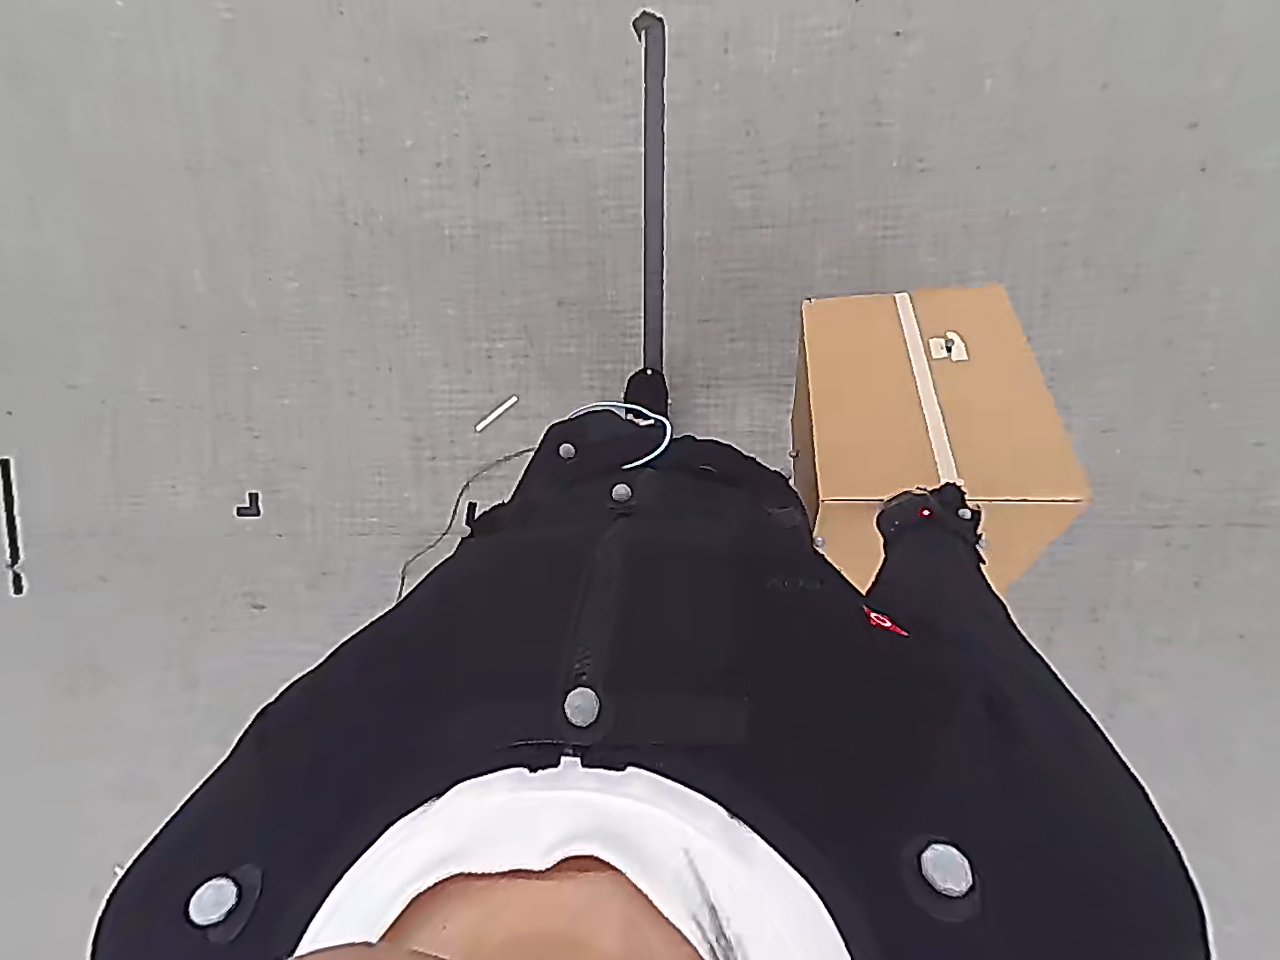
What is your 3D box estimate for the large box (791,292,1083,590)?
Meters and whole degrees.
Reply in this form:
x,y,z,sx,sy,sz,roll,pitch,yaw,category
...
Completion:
x,y,z,sx,sy,sz,roll,pitch,yaw,category
0.434,-0.058,0.916,0.320,0.320,0.408,0,55,10,large box
